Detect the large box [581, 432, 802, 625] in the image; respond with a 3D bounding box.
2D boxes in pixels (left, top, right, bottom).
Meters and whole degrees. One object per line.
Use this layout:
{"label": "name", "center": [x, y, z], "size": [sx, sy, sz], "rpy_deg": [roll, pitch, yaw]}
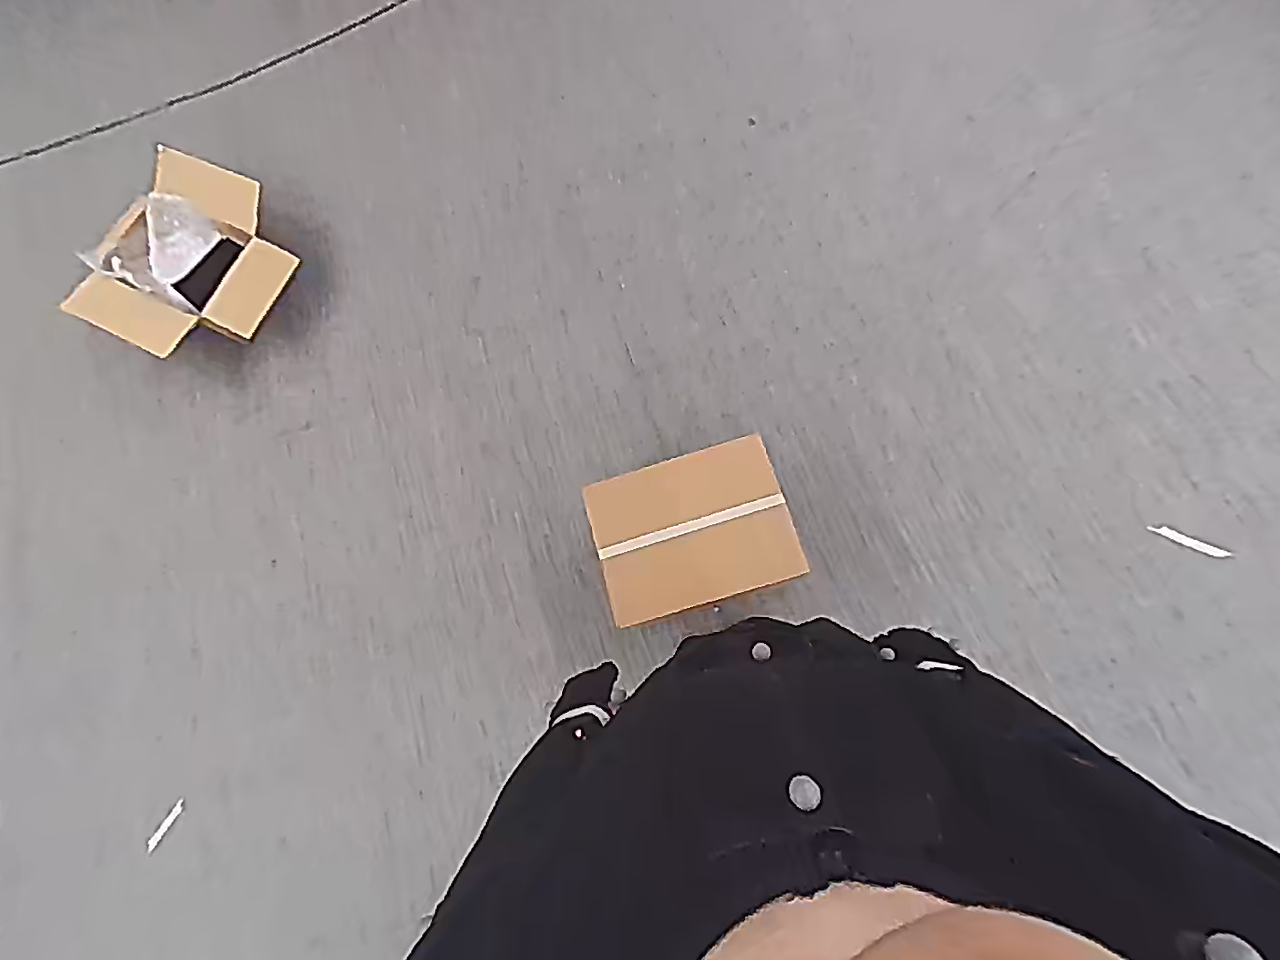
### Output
{"label": "large box", "center": [0.116, 0.135, 1.280], "size": [0.408, 0.320, 0.320], "rpy_deg": [-17, 74, 2]}
